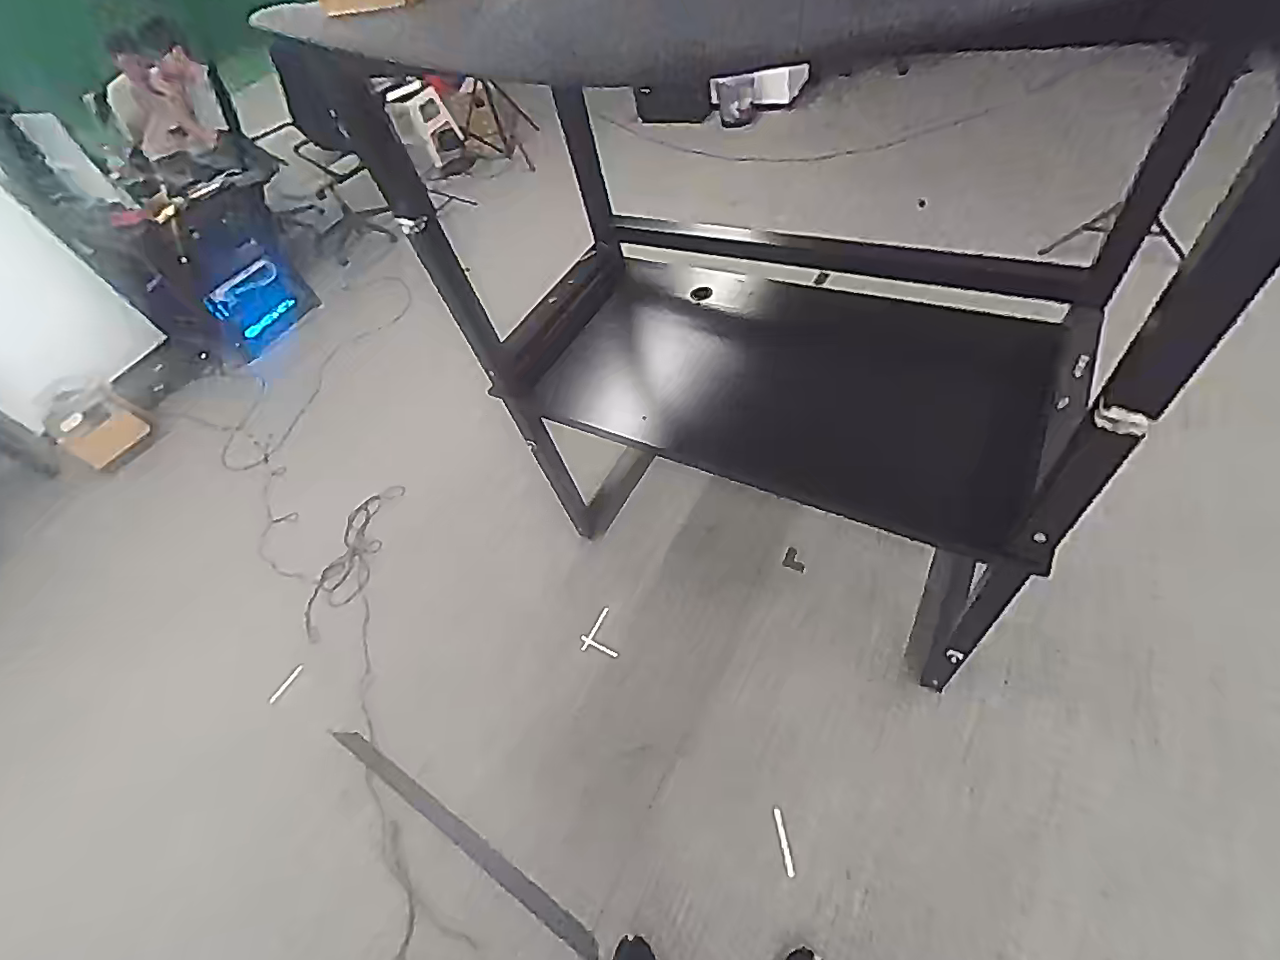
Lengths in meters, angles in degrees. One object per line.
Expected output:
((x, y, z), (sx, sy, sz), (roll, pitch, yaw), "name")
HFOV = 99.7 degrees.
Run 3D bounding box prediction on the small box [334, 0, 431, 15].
((-0.334, -0.737, 0.698), (0.168, 0.176, 0.179), (16, 60, 24), "small box")
